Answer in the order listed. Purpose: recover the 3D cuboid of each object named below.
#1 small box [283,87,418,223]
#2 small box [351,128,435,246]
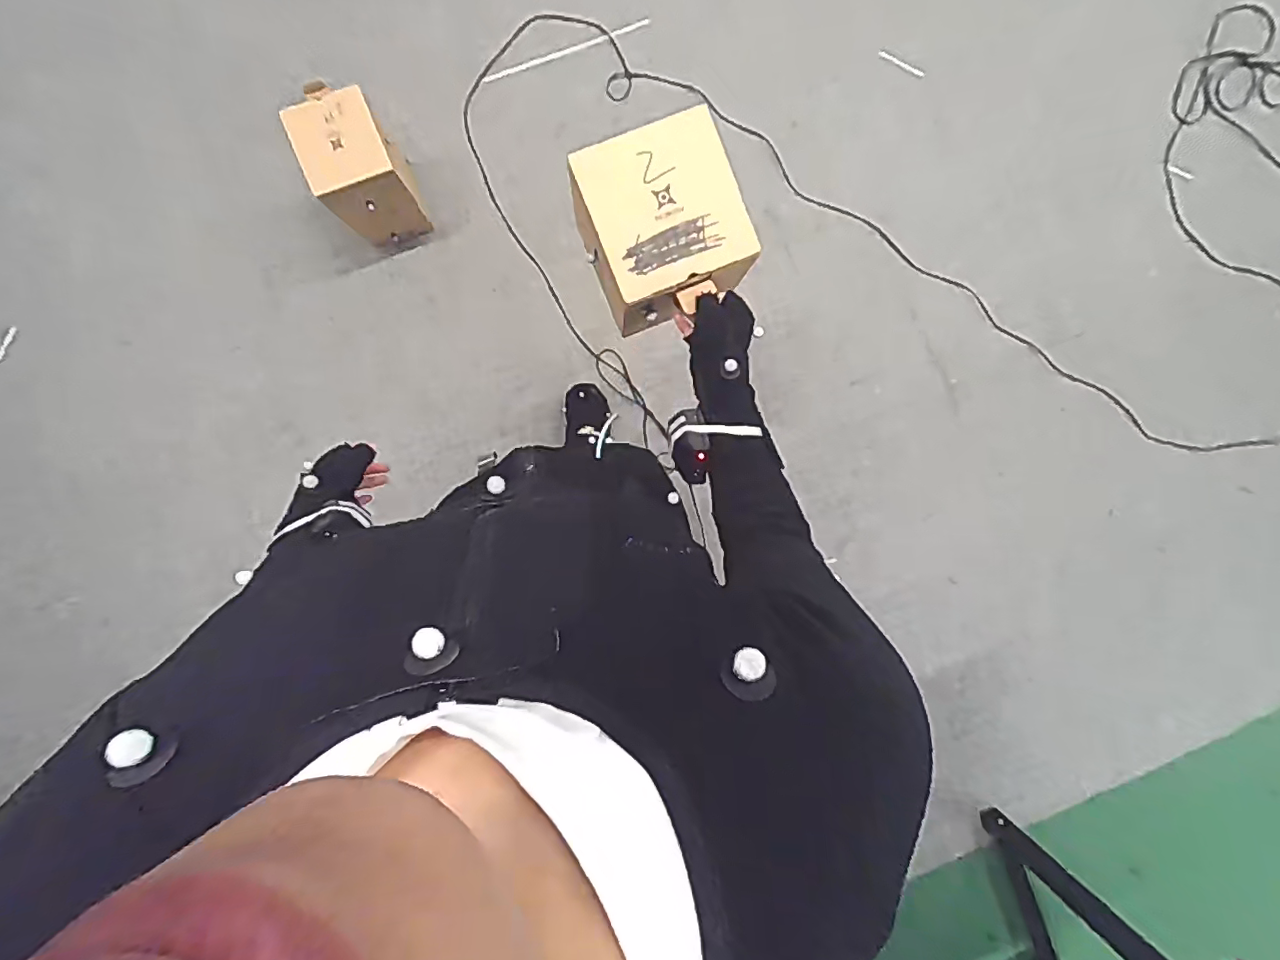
[{"bbox_3d":[-0.597,-0.670,1.143,0.168,0.176,0.179,-21,95,-3],"label":"small box"},{"bbox_3d":[-0.621,-0.698,1.304,0.168,0.176,0.179,-18,95,-3],"label":"small box"}]
